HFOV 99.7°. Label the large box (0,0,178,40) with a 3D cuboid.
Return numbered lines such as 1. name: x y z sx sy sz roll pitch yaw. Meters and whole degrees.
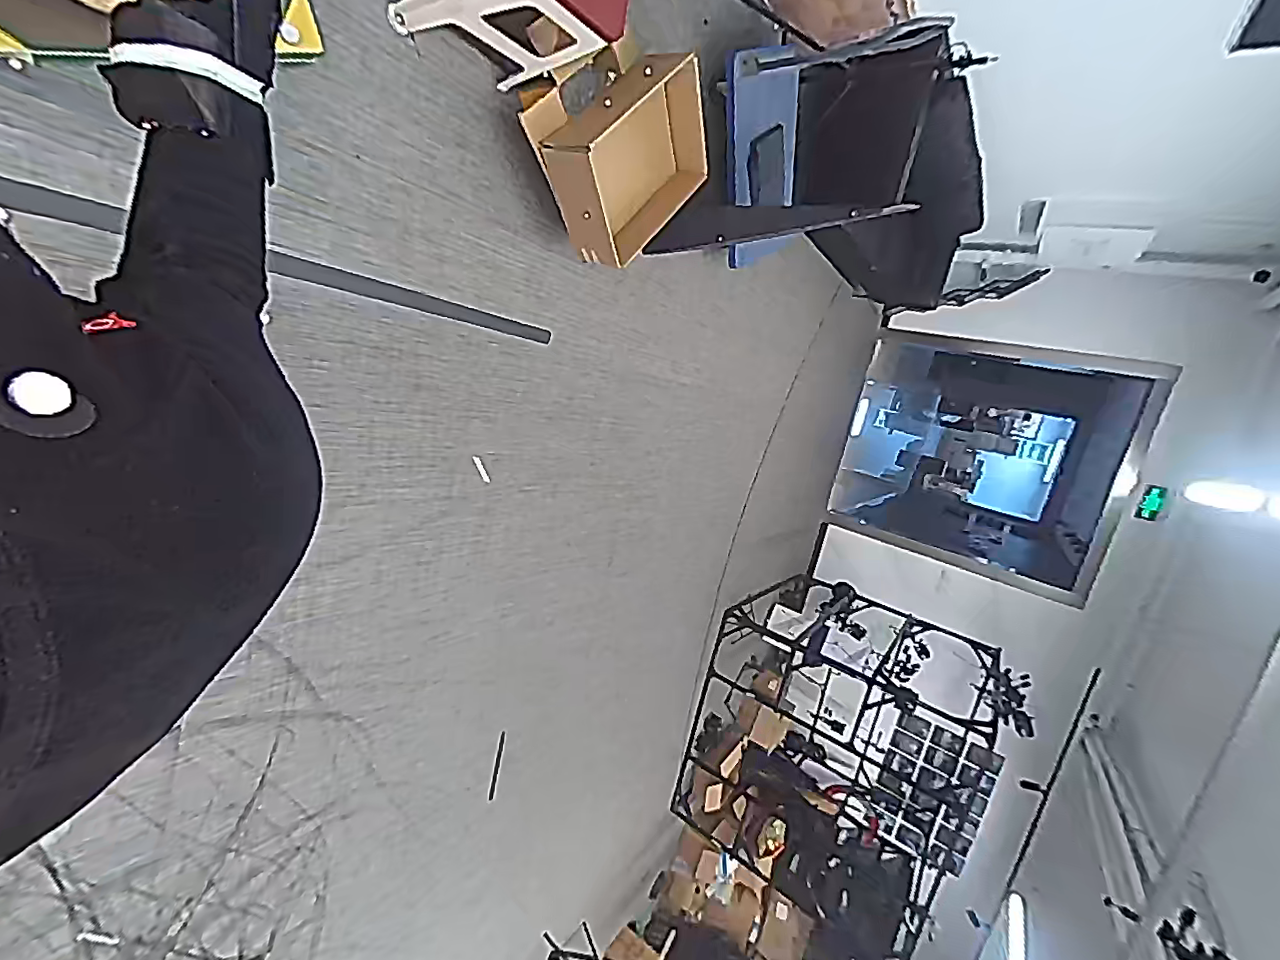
1. large box: -0.499 -0.478 0.232 0.408 0.320 0.320 -7 120 -57
